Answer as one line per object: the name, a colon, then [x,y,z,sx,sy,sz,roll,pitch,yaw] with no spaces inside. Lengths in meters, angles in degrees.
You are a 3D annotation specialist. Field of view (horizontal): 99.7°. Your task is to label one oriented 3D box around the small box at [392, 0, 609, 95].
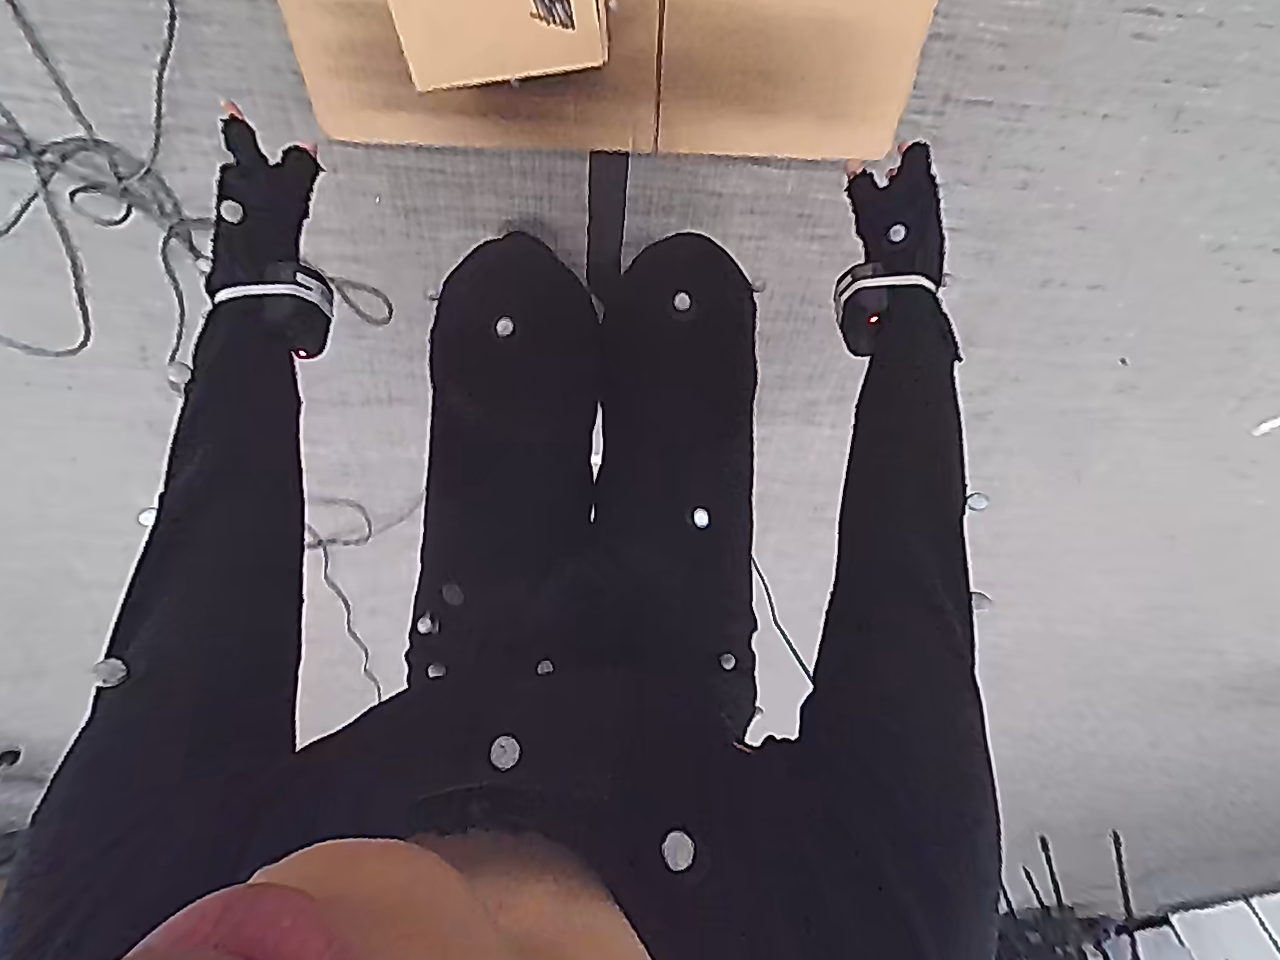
small box: [-0.125,-0.476,0.494,0.179,0.176,0.168,-5,134,4]
